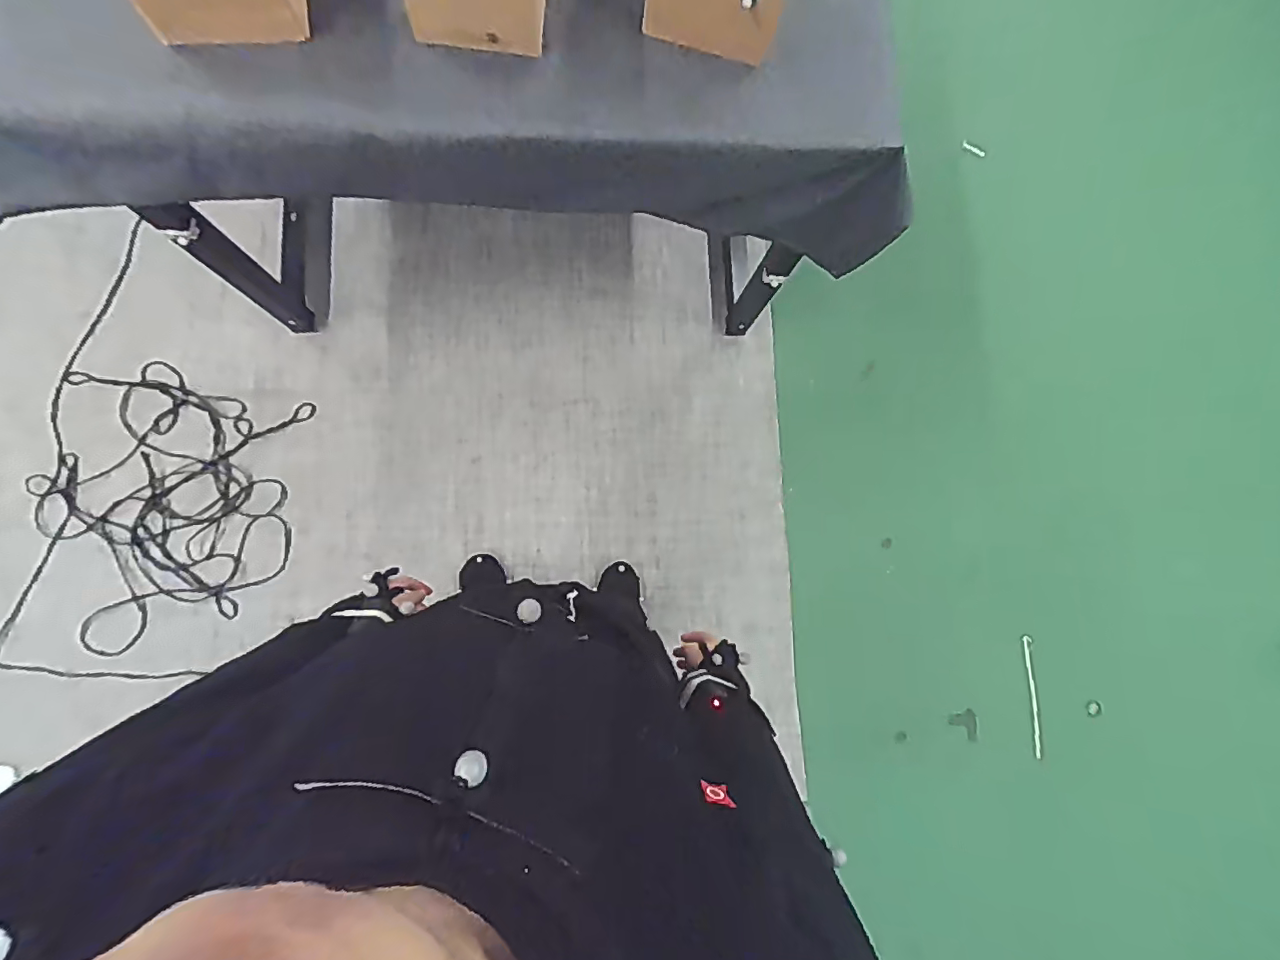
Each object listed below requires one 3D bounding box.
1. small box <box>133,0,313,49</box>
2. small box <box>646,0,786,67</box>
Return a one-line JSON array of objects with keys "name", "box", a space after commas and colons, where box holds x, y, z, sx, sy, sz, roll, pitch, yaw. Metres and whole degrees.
[{"name": "small box", "box": [-0.513, -0.640, 0.623, 0.179, 0.176, 0.168, -9, 83, -8]}, {"name": "small box", "box": [0.114, -0.689, 0.701, 0.179, 0.176, 0.168, 12, 80, -3]}]
